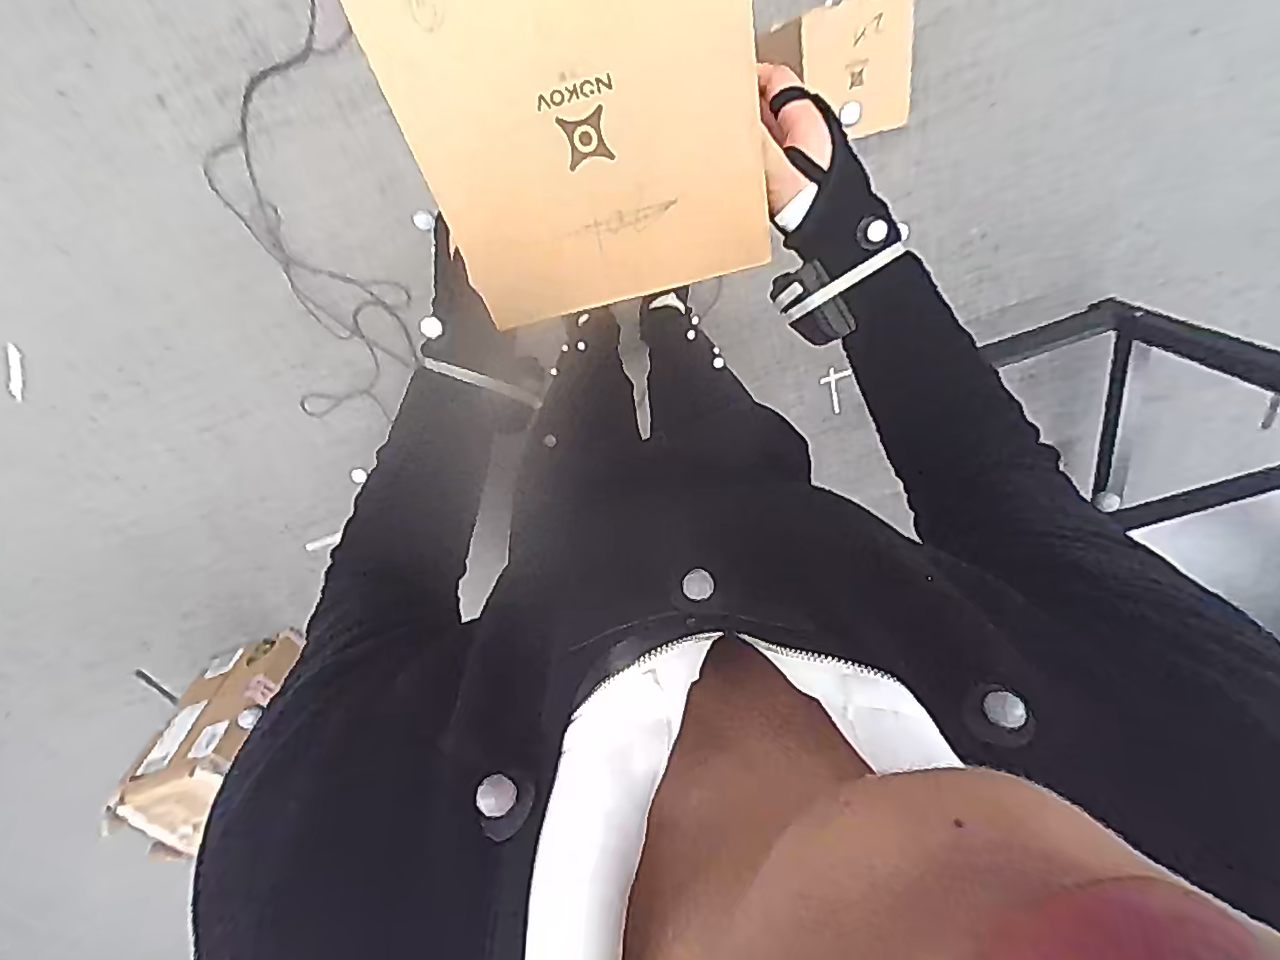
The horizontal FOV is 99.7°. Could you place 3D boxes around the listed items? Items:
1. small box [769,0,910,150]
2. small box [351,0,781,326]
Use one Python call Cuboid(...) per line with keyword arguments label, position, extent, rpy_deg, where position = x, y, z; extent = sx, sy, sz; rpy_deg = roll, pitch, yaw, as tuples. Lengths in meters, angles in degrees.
Cuboid(label="small box", position=(0.320, -0.665, 0.893), extent=(0.168, 0.176, 0.179), rpy_deg=(-14, 122, 2))
Cuboid(label="small box", position=(-0.024, -0.221, 0.305), extent=(0.168, 0.176, 0.179), rpy_deg=(-11, 135, 9))
